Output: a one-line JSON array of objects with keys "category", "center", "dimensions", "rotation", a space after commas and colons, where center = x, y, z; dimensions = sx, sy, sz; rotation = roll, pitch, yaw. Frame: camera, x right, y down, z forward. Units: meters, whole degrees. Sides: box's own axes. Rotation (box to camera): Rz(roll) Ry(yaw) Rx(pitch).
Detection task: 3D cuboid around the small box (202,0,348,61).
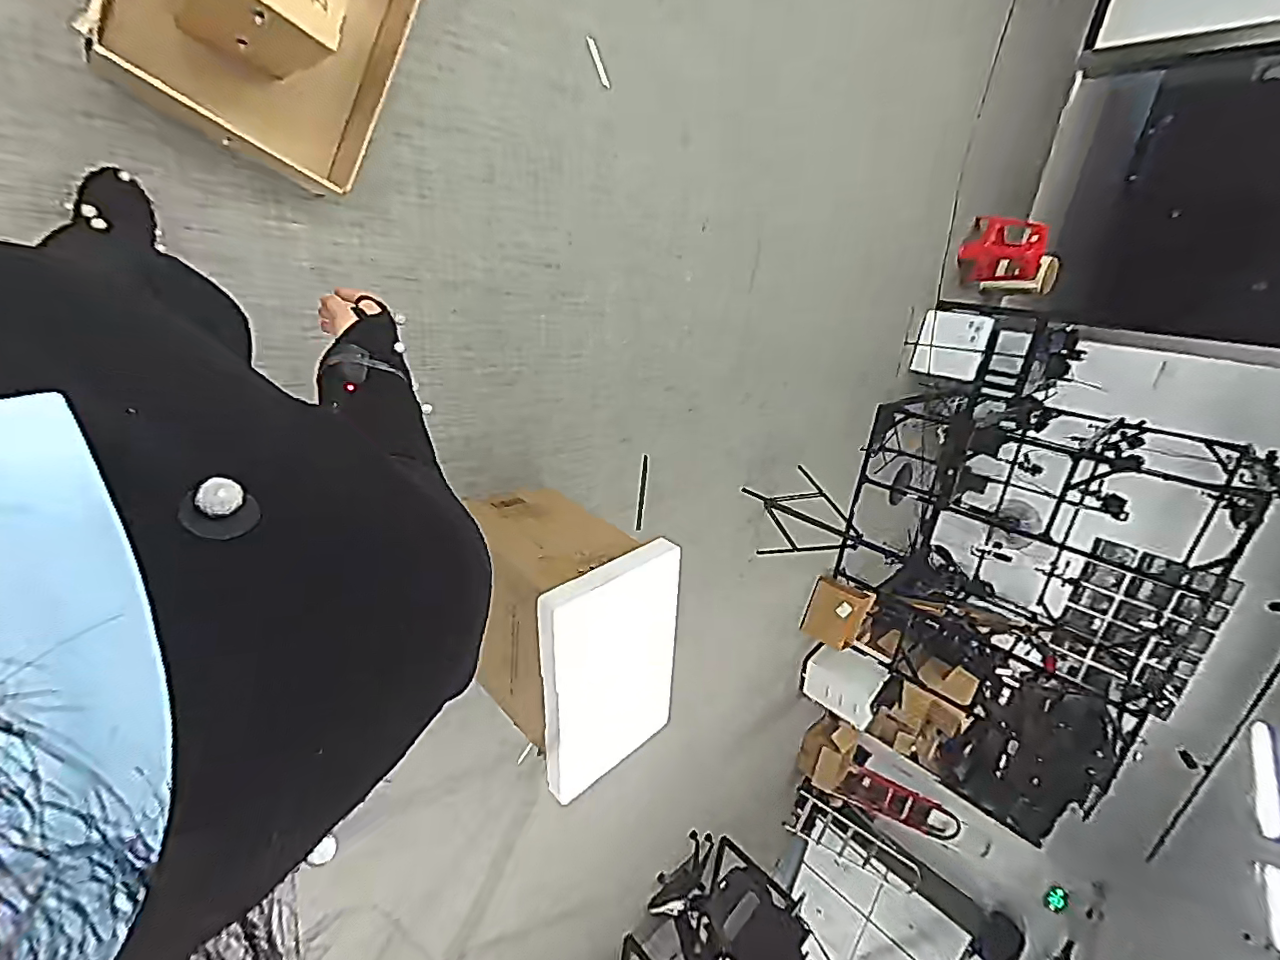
[{"category": "small box", "center": [-0.577, -0.804, 0.847], "dimensions": [0.179, 0.176, 0.168], "rotation": [11, 99, -51]}]
